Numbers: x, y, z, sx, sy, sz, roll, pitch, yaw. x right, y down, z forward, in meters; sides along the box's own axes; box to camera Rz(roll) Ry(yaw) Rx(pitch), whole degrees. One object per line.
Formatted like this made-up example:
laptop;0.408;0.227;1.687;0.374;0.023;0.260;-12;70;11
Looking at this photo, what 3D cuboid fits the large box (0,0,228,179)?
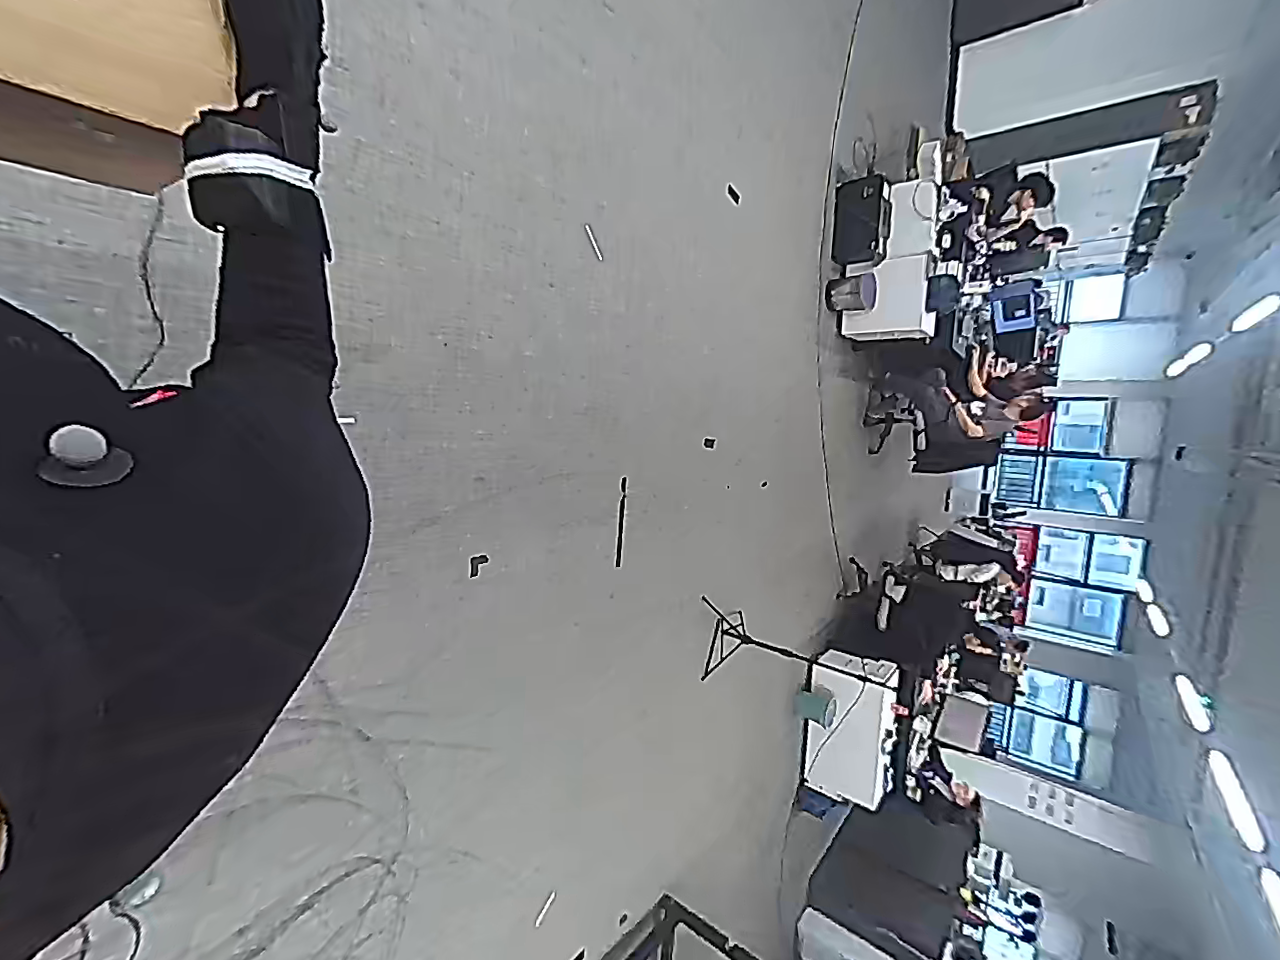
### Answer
large box;-0.534;-0.419;0.313;0.408;0.320;0.320;-7;110;-51
